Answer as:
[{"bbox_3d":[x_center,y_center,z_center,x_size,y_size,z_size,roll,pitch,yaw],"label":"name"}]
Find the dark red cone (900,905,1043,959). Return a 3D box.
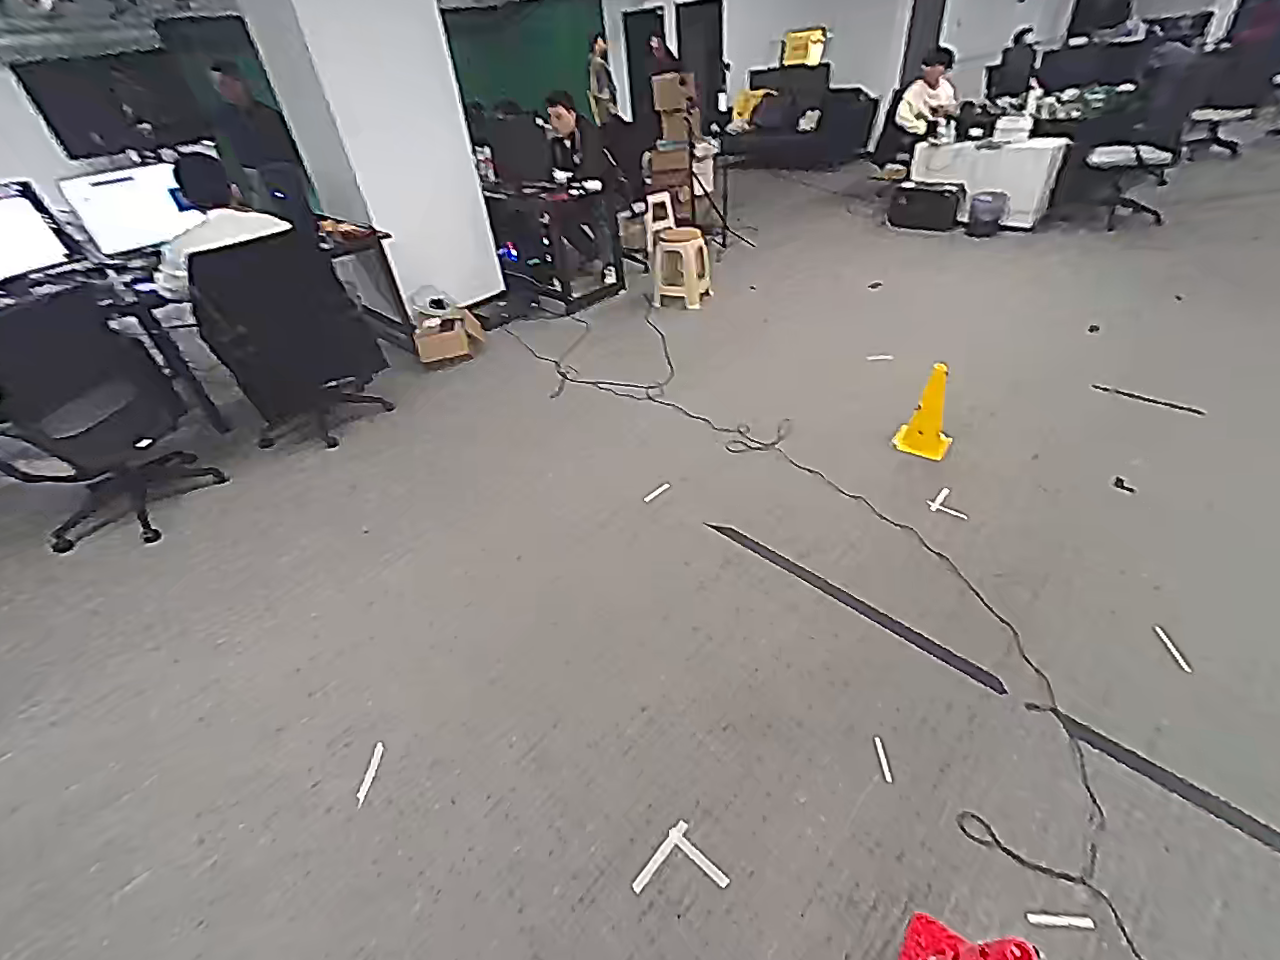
[{"bbox_3d":[0.556,0.783,0.861,0.202,0.394,0.201,21,45,32],"label":"dark red cone"}]
